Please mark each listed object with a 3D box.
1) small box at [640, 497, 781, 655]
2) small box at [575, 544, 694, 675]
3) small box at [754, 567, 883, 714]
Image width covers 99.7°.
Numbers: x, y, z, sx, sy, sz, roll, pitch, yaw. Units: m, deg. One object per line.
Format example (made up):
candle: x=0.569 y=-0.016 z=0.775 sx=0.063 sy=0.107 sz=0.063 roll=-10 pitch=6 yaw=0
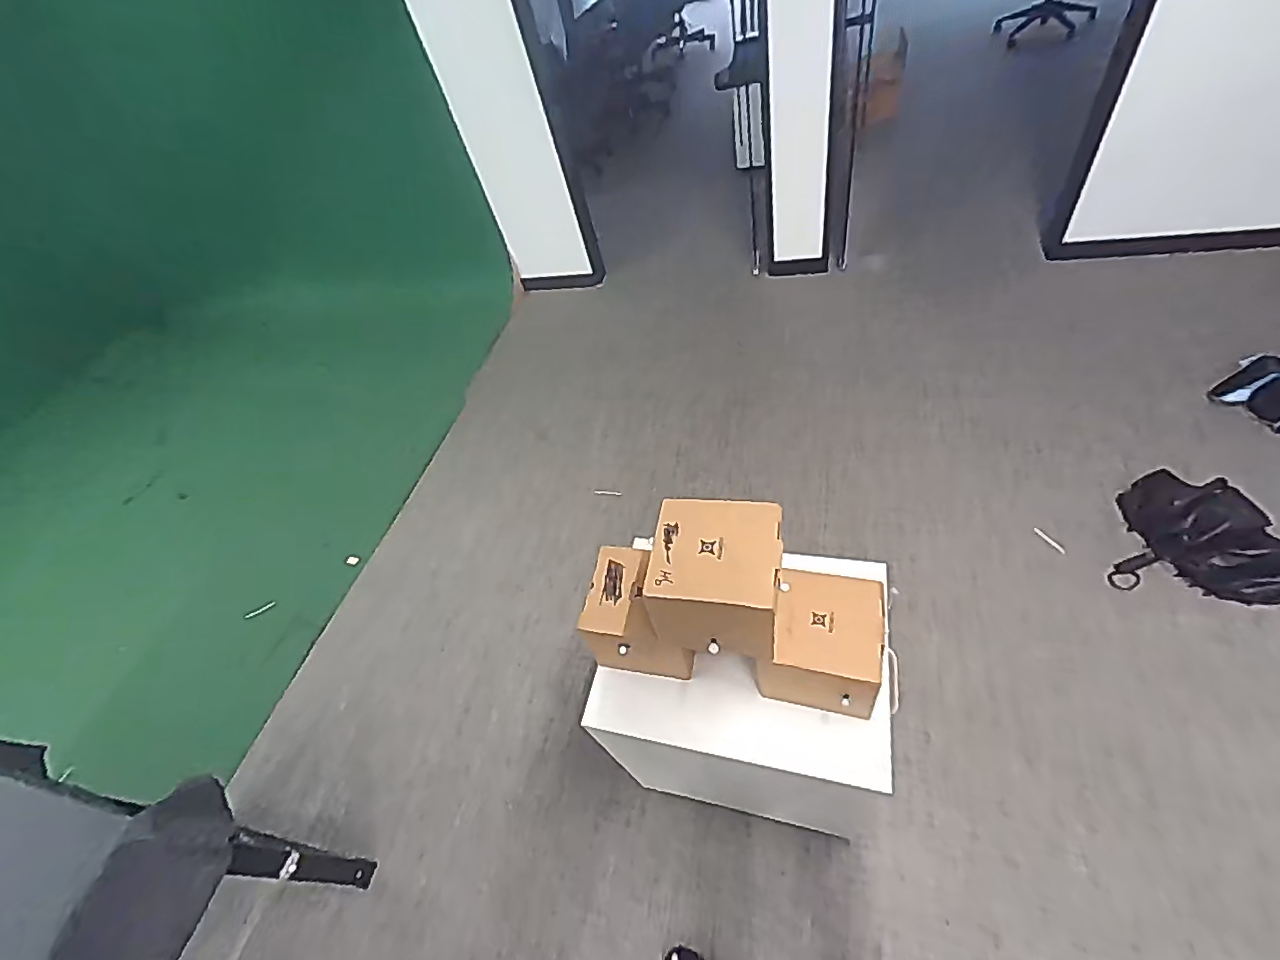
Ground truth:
small box: x=0.113 y=0.145 z=0.803 sx=0.179 sy=0.176 sz=0.168 roll=3 pitch=52 yaw=16
small box: x=0.007 y=0.234 z=0.970 sx=0.179 sy=0.176 sz=0.168 roll=4 pitch=53 yaw=16
small box: x=0.288 y=0.262 z=0.876 sx=0.179 sy=0.176 sz=0.168 roll=4 pitch=51 yaw=20
